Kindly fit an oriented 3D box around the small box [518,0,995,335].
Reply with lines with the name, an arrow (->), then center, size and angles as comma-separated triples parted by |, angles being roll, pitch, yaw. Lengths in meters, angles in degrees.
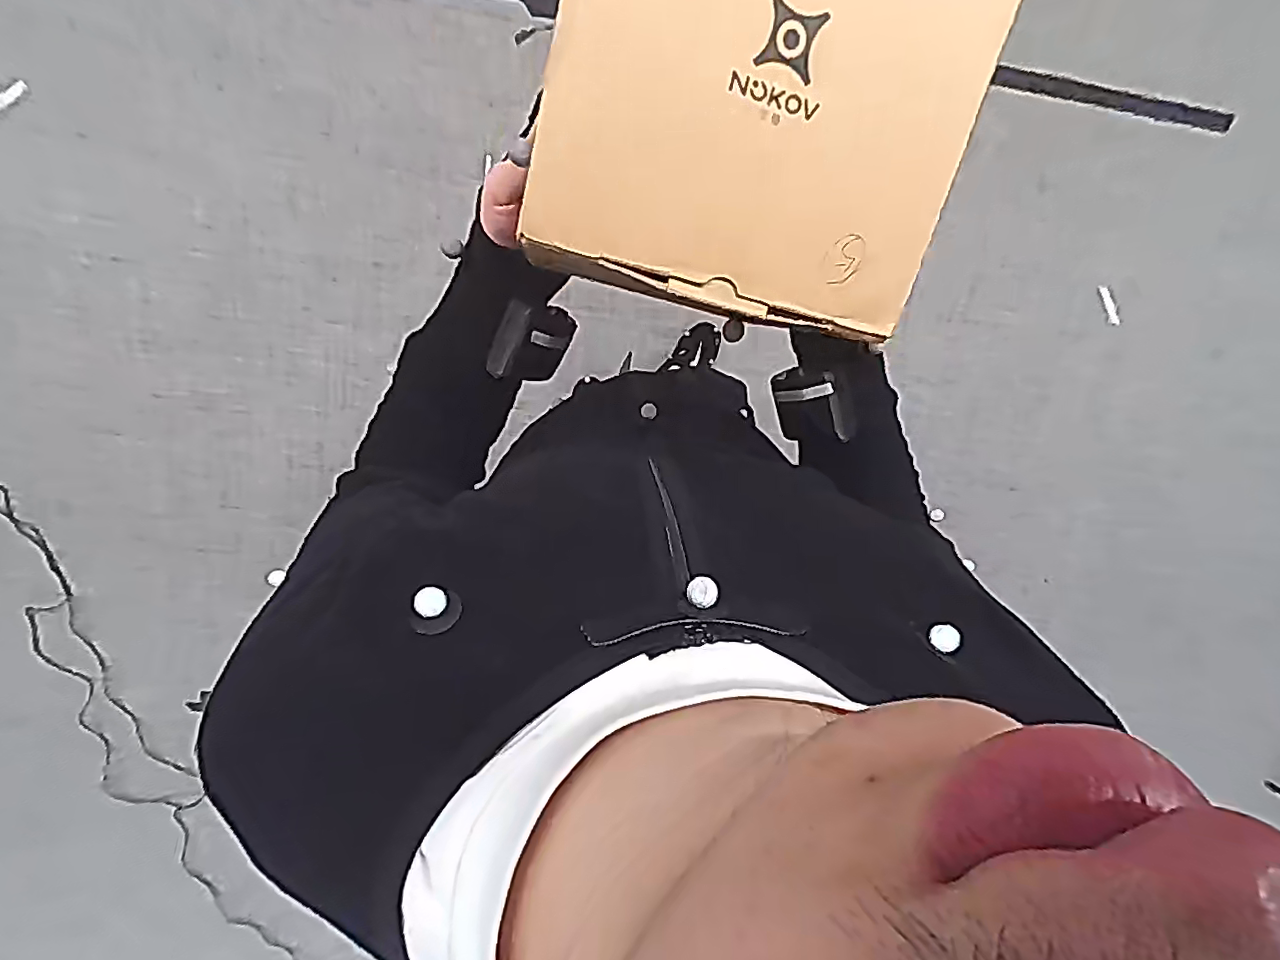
small box -> 0.037, -0.186, 0.282 | 0.168, 0.176, 0.179 | 10, 106, -14
